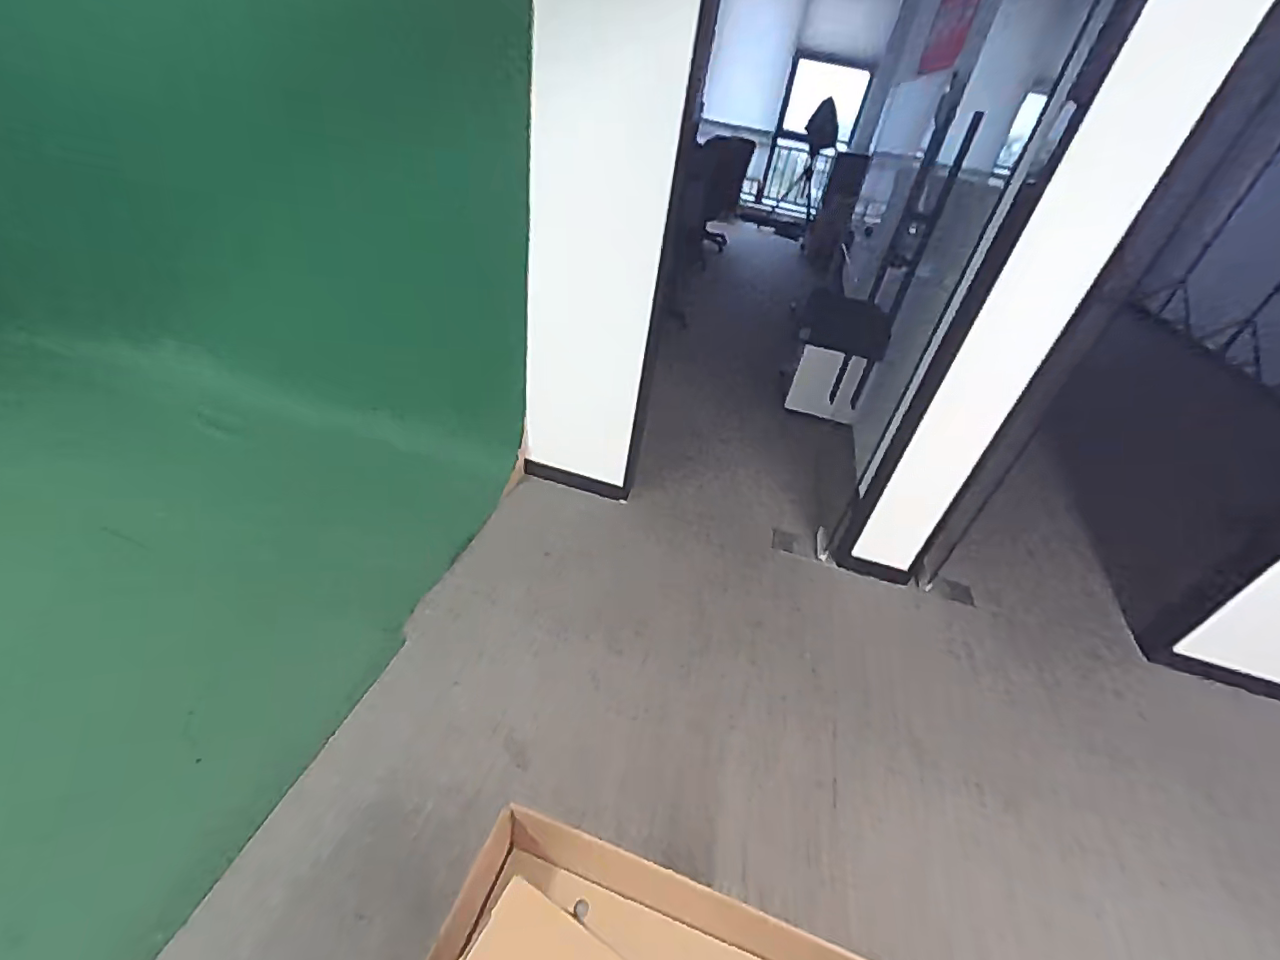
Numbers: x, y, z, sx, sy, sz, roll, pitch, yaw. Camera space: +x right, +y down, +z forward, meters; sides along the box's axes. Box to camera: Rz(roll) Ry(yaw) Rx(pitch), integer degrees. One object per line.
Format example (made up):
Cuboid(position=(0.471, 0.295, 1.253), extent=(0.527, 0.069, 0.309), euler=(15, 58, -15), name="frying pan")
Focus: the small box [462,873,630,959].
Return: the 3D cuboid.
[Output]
Cuboid(position=(-0.058, 0.434, 0.384), extent=(0.179, 0.176, 0.168), euler=(21, 50, 24), name="small box")
